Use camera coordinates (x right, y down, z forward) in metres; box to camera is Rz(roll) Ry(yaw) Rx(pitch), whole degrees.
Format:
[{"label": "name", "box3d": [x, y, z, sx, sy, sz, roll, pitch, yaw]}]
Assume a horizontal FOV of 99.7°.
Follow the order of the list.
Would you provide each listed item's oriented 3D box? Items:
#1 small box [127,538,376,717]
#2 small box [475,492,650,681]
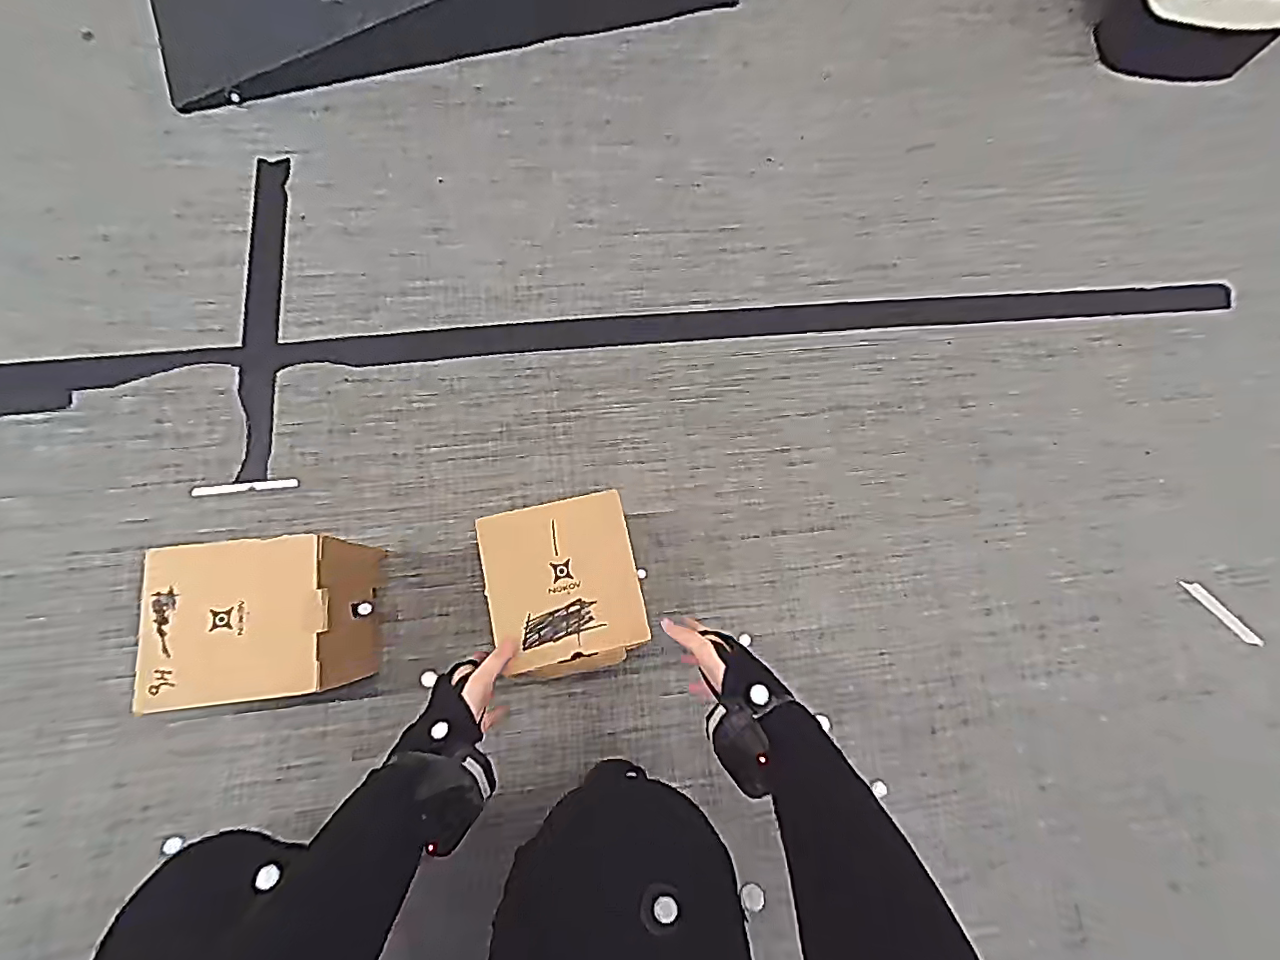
[{"label": "small box", "box3d": [-0.421, 0.160, 0.621, 0.179, 0.176, 0.168, -4, 77, -6]}, {"label": "small box", "box3d": [-0.088, 0.127, 0.656, 0.168, 0.176, 0.179, -11, 78, -7]}]
